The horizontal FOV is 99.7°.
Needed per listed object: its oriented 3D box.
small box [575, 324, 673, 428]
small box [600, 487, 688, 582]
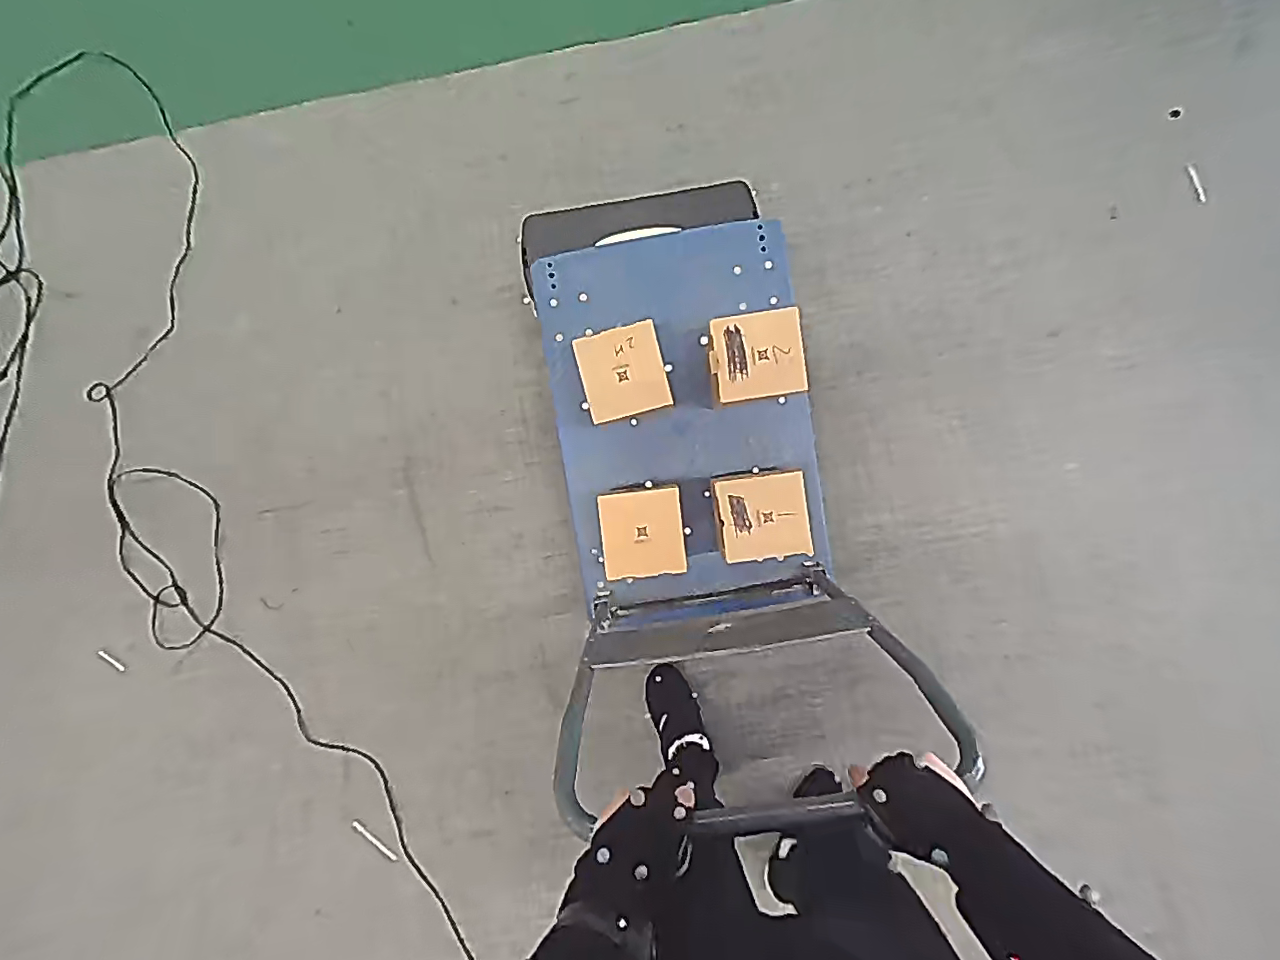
[{"bbox_3d":[-0.028,-0.211,1.148,0.168,0.176,0.179,-14,92,2],"label":"small box"},{"bbox_3d":[0.009,0.108,1.163,0.168,0.176,0.179,-6,93,2],"label":"small box"}]
